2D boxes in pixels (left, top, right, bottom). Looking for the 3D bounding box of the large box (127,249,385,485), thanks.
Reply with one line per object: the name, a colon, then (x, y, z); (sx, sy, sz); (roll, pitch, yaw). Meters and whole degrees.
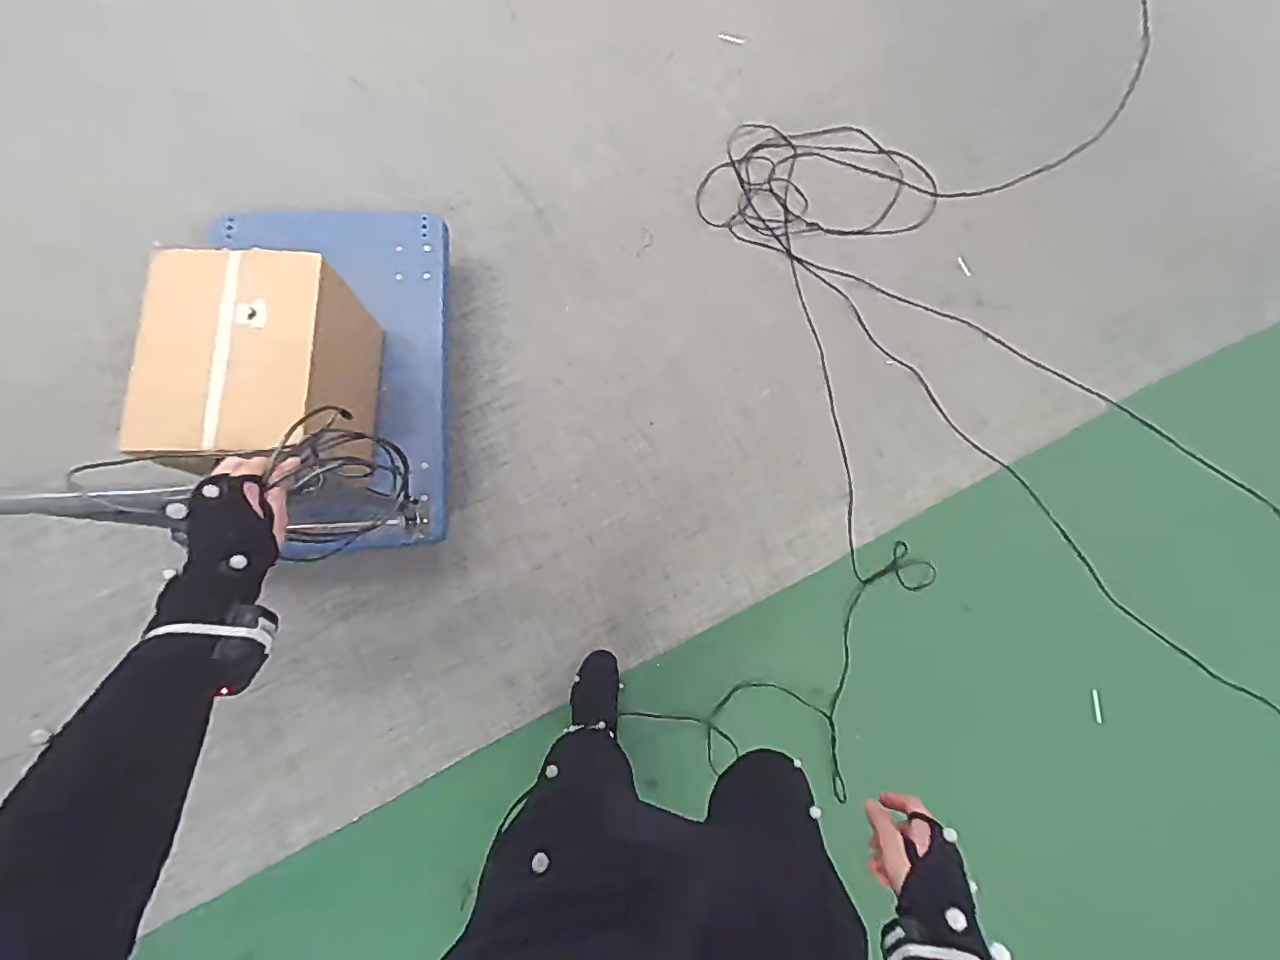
large box: (-0.766, -0.215, 1.144); (0.320, 0.320, 0.408); (0, 78, -5)
